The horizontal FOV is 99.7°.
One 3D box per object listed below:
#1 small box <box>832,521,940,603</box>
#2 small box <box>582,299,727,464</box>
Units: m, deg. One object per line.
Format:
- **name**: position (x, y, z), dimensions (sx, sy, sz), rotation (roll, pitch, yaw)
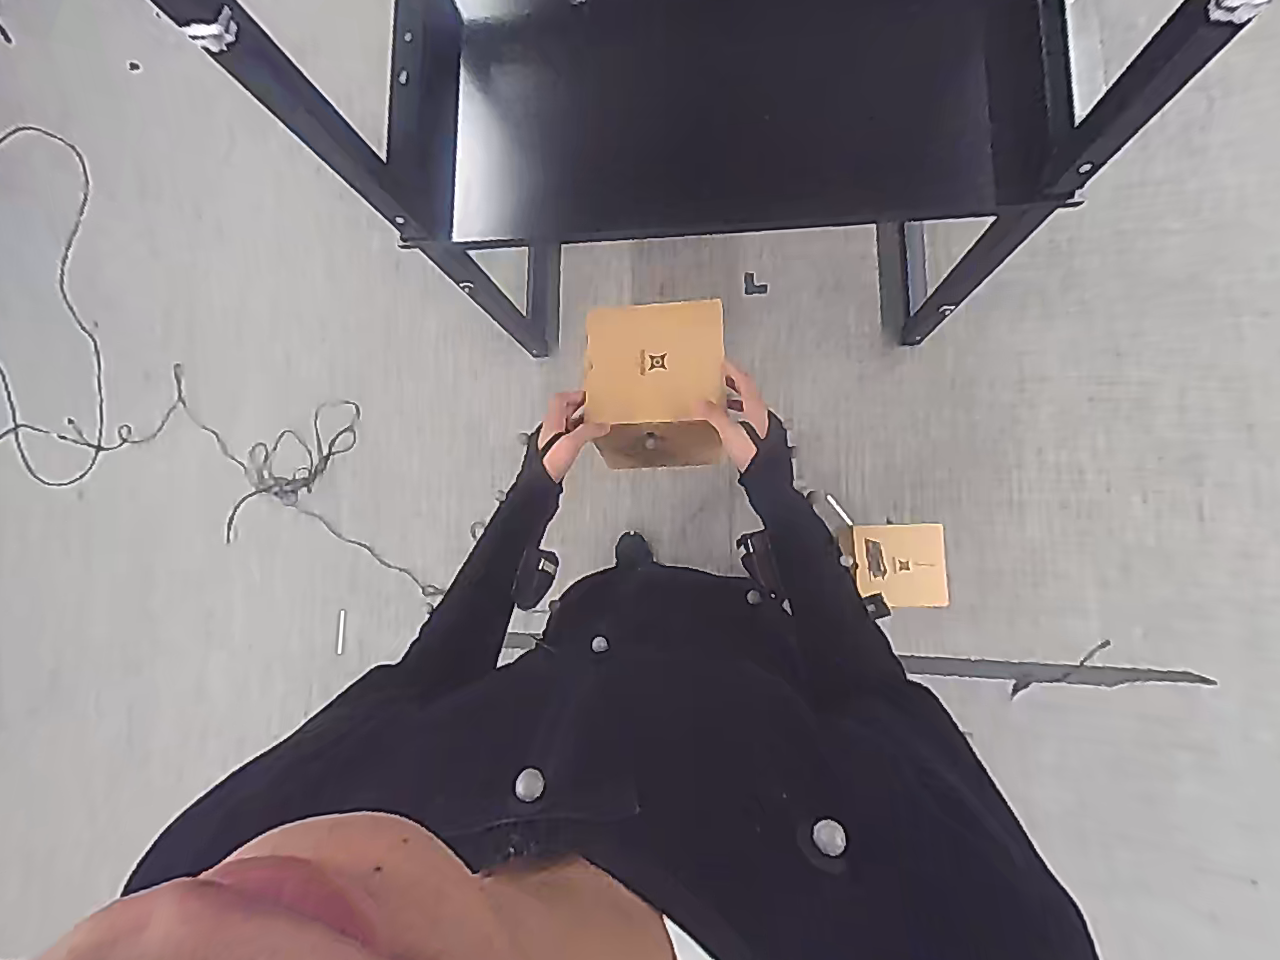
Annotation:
- **small box**: position (0.519, 0.172, 1.165), dimensions (0.179, 0.176, 0.168), rotation (-2, 85, 7)
- **small box**: position (0.026, -0.124, 0.740), dimensions (0.179, 0.176, 0.168), rotation (-2, 73, 8)
